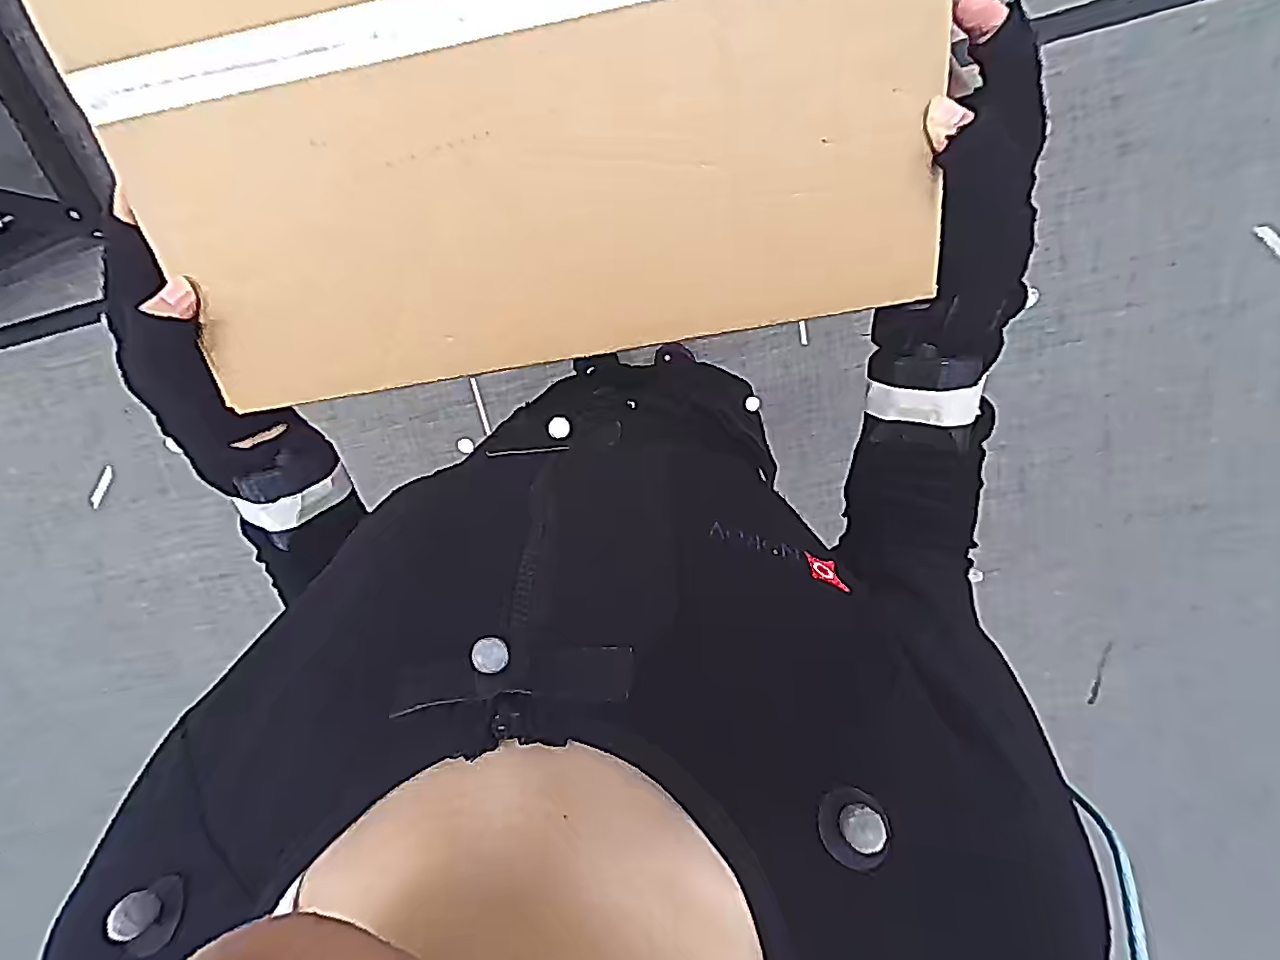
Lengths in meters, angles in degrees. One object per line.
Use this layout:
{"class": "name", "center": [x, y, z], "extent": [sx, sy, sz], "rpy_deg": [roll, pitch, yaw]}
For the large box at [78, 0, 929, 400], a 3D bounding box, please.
{"class": "large box", "center": [-0.064, -0.276, 0.394], "extent": [0.408, 0.320, 0.320], "rpy_deg": [-9, 114, 5]}
